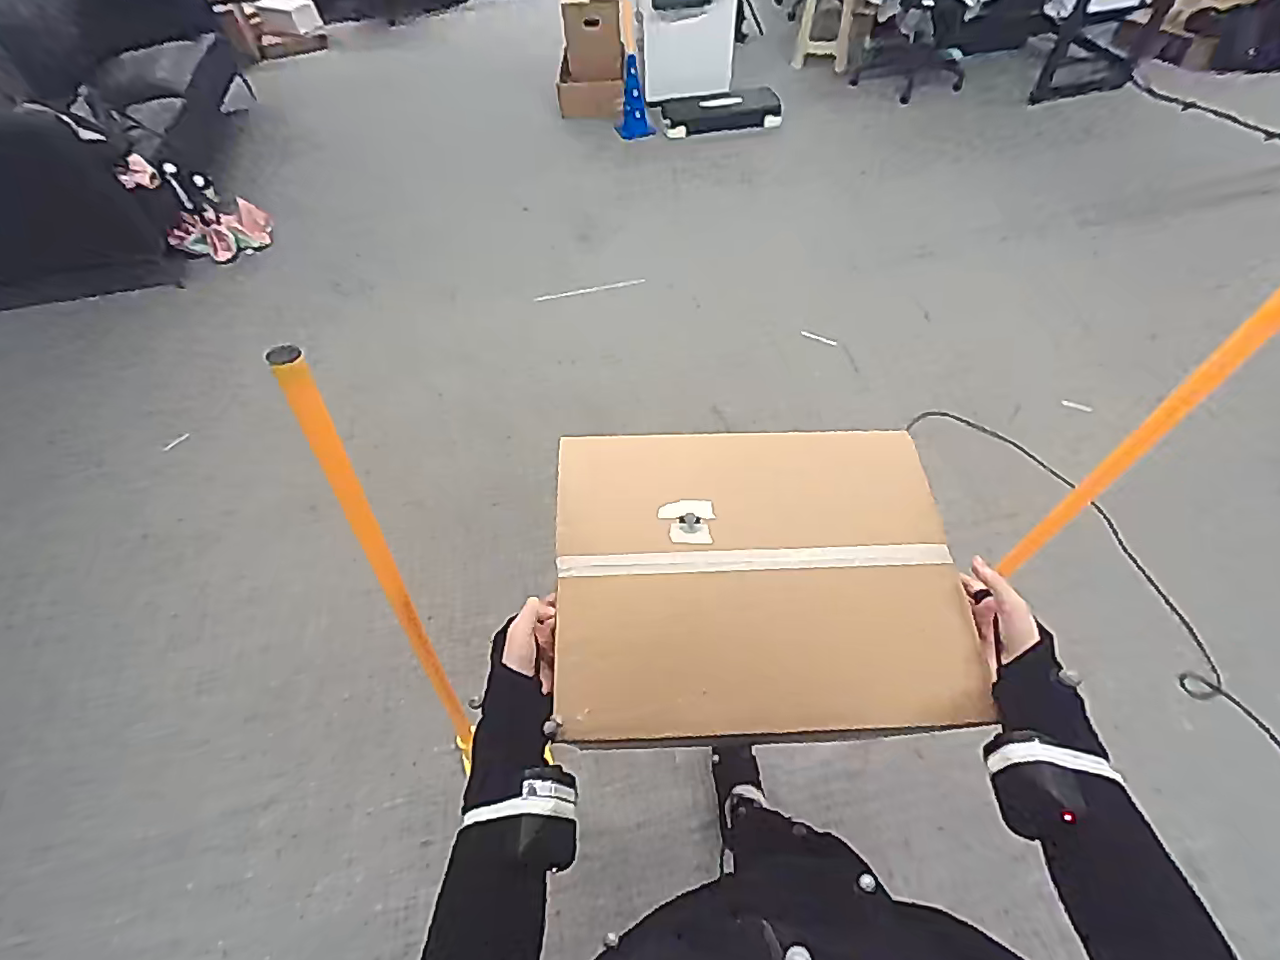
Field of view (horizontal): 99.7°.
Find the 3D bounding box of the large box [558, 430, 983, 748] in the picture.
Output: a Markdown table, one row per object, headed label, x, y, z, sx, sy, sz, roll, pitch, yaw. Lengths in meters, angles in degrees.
| label | x | y | z | sx | sy | sz | roll | pitch | yaw |
| --- | --- | --- | --- | --- | --- | --- | --- | --- | --- |
| large box | 0.115 | 0.156 | 0.694 | 0.408 | 0.320 | 0.320 | -3 | 61 | -2 |
